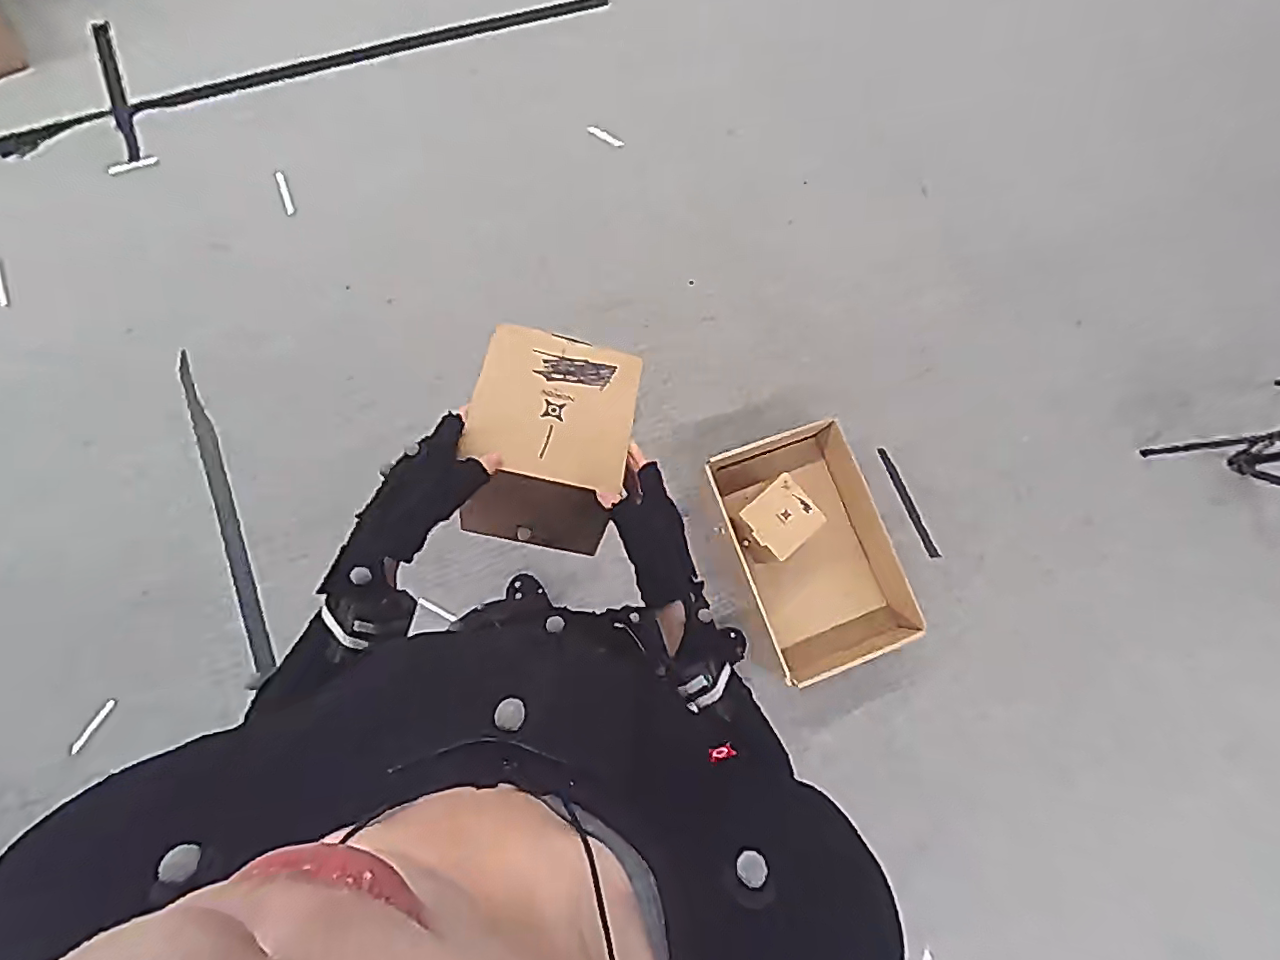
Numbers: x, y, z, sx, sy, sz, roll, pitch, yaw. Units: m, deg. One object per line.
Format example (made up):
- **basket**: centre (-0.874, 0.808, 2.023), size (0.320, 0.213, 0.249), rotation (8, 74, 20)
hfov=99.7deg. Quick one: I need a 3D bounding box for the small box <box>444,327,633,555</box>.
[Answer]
- **small box**: centre (-0.113, -0.036, 0.617), size (0.168, 0.176, 0.179), rotation (12, 58, -8)
